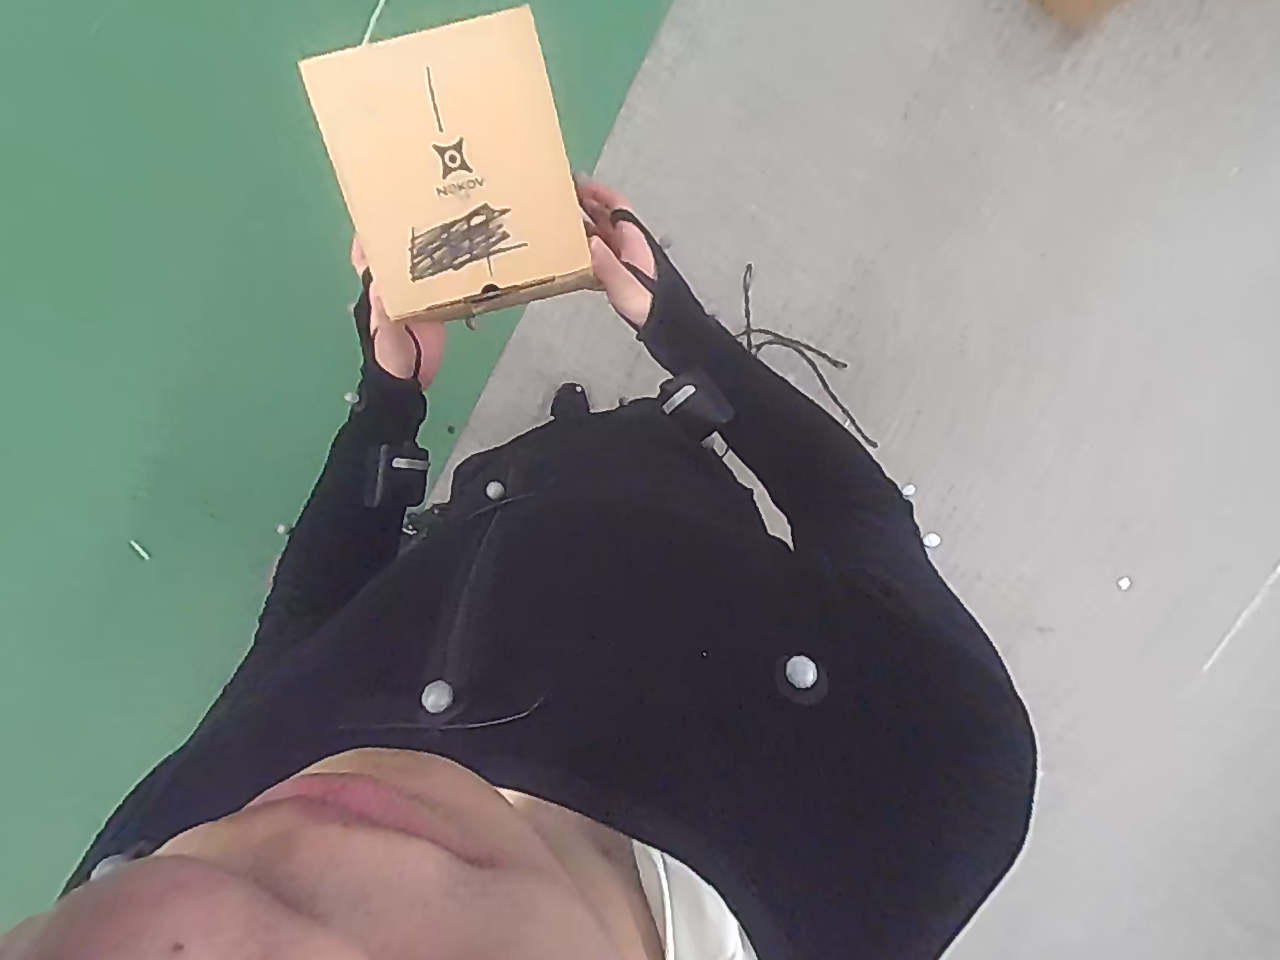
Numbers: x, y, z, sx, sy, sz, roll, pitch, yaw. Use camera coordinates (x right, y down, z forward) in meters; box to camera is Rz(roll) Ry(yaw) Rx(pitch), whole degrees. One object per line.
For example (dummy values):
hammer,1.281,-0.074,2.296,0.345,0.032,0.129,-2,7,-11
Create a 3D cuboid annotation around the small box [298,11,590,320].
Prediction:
small box,-0.142,-0.243,0.468,0.168,0.176,0.179,-13,106,0
